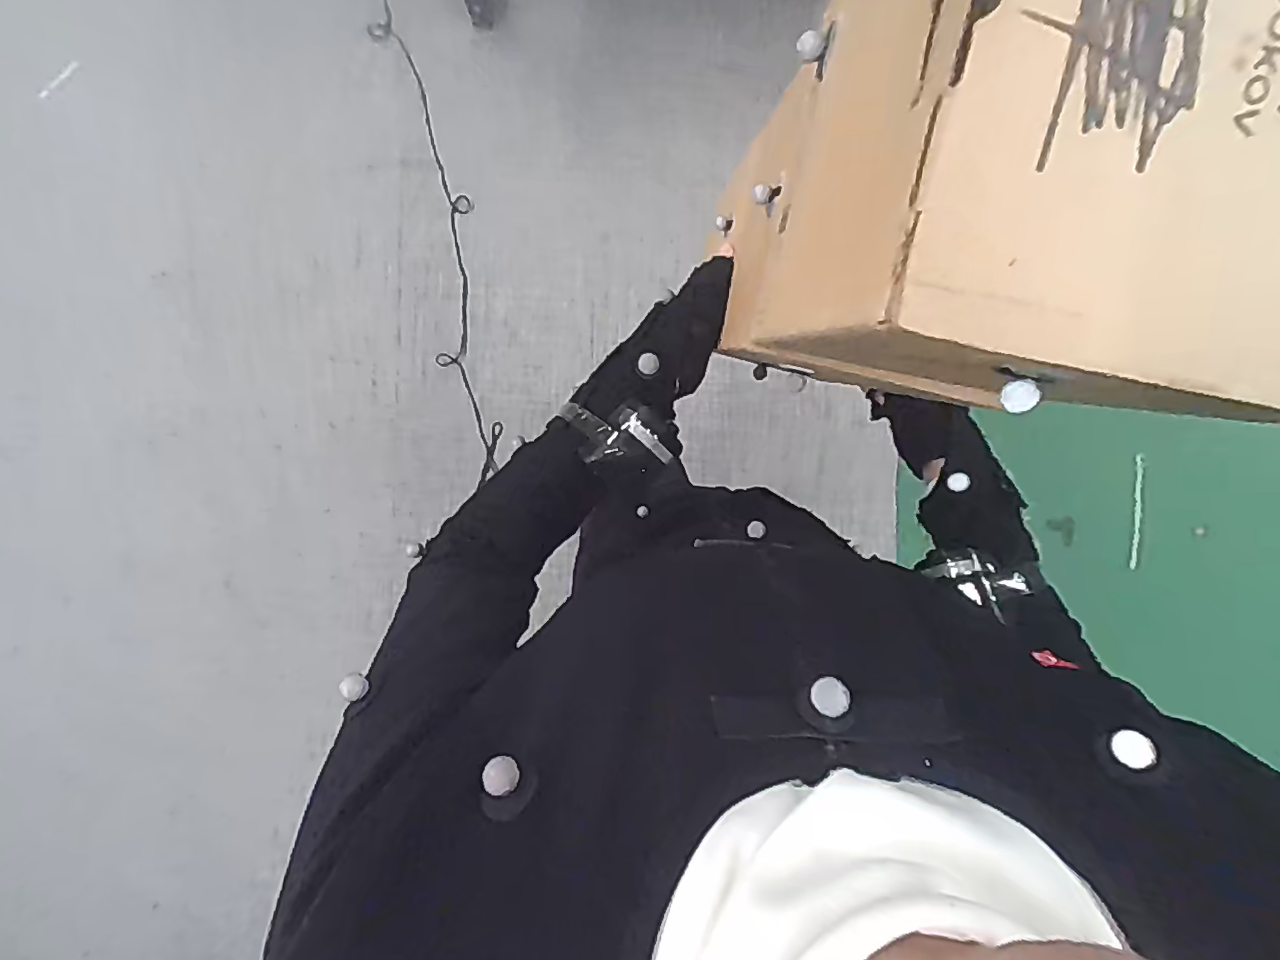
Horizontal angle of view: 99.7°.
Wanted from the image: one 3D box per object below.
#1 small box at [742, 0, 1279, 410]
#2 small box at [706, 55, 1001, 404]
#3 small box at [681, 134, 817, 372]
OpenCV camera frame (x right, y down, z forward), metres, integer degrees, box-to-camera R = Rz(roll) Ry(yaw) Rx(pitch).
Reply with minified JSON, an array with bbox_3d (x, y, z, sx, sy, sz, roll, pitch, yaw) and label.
[{"bbox_3d":[0.151,-0.127,0.212,0.179,0.176,0.168,11,103,-3],"label":"small box"},{"bbox_3d":[0.150,-0.164,0.371,0.168,0.176,0.179,14,104,-3],"label":"small box"},{"bbox_3d":[0.149,-0.202,0.530,0.179,0.176,0.168,14,103,-5],"label":"small box"}]
